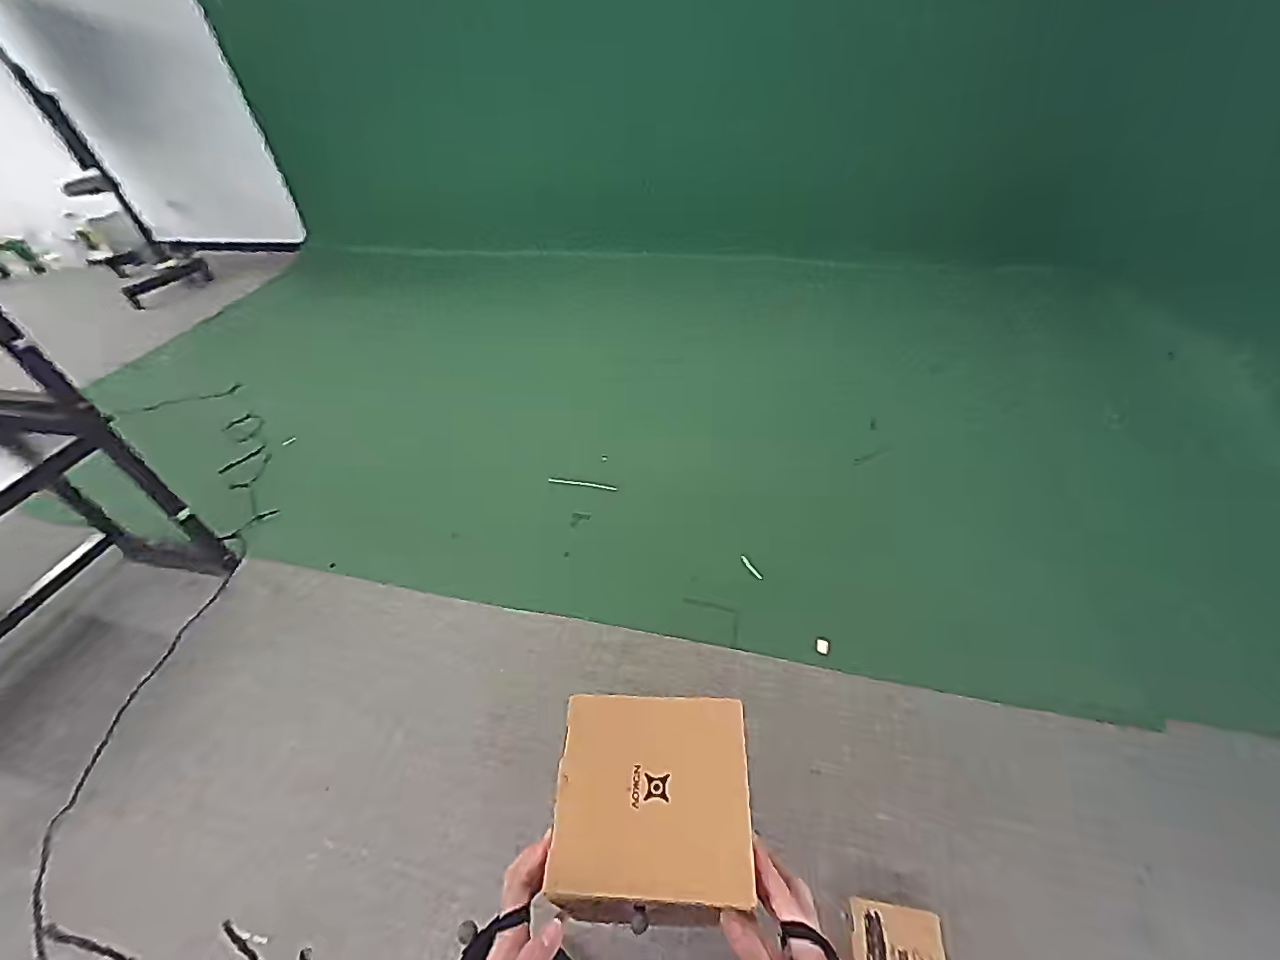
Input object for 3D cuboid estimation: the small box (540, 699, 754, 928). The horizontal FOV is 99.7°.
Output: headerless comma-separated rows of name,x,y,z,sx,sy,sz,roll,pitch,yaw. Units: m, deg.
small box,0.015,0.336,0.547,0.179,0.176,0.168,-3,45,6
